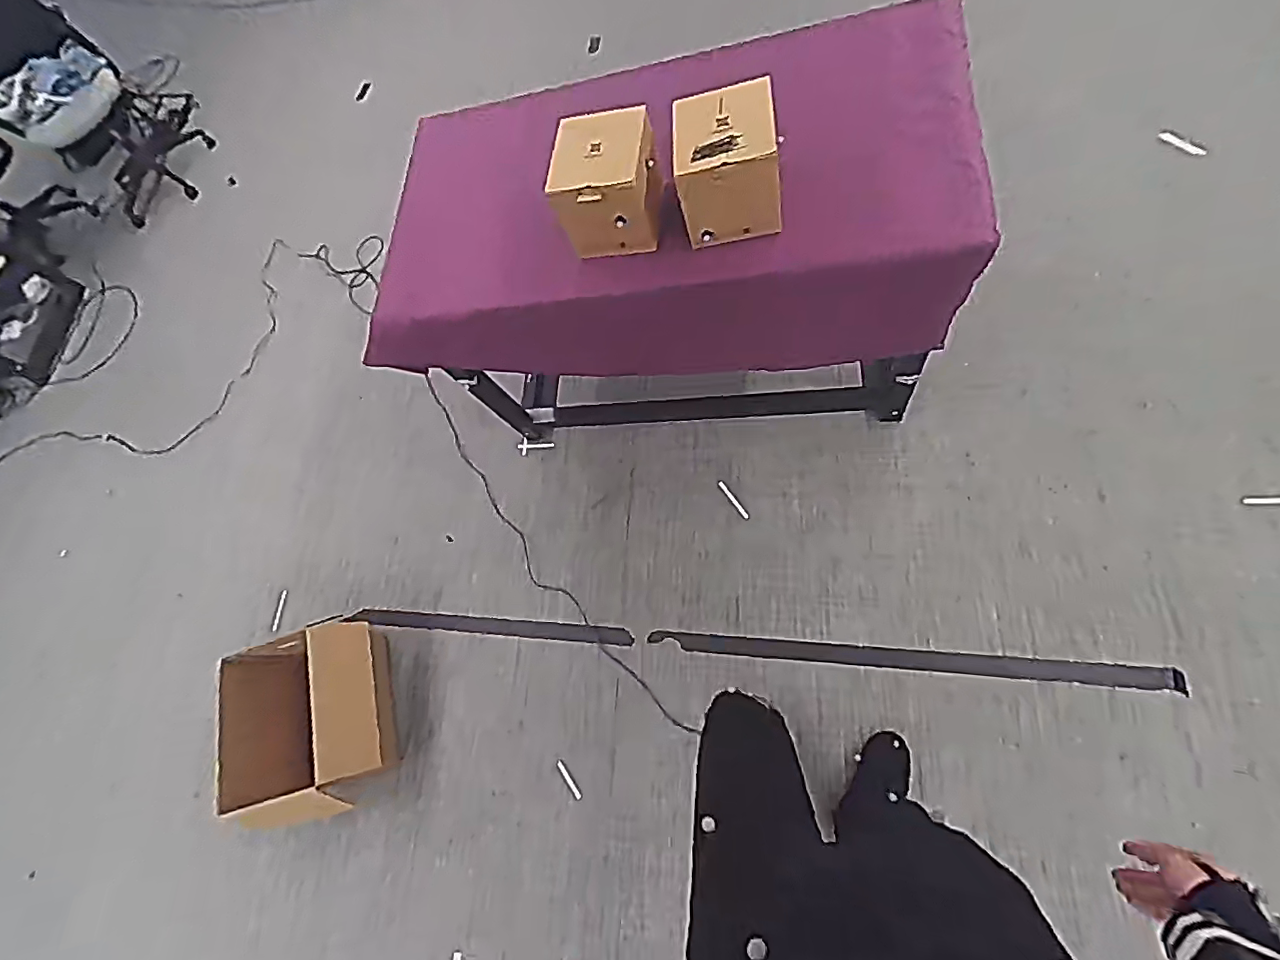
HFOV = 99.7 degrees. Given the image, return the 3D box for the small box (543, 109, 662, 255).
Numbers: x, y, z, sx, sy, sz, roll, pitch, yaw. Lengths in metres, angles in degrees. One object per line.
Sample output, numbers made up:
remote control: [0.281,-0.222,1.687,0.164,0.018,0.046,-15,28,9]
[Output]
small box: [-0.061,-0.546,1.017,0.168,0.176,0.179,2,72,16]

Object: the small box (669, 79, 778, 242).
small box: [0.150,-0.547,0.954,0.168,0.176,0.179,-5,69,15]
